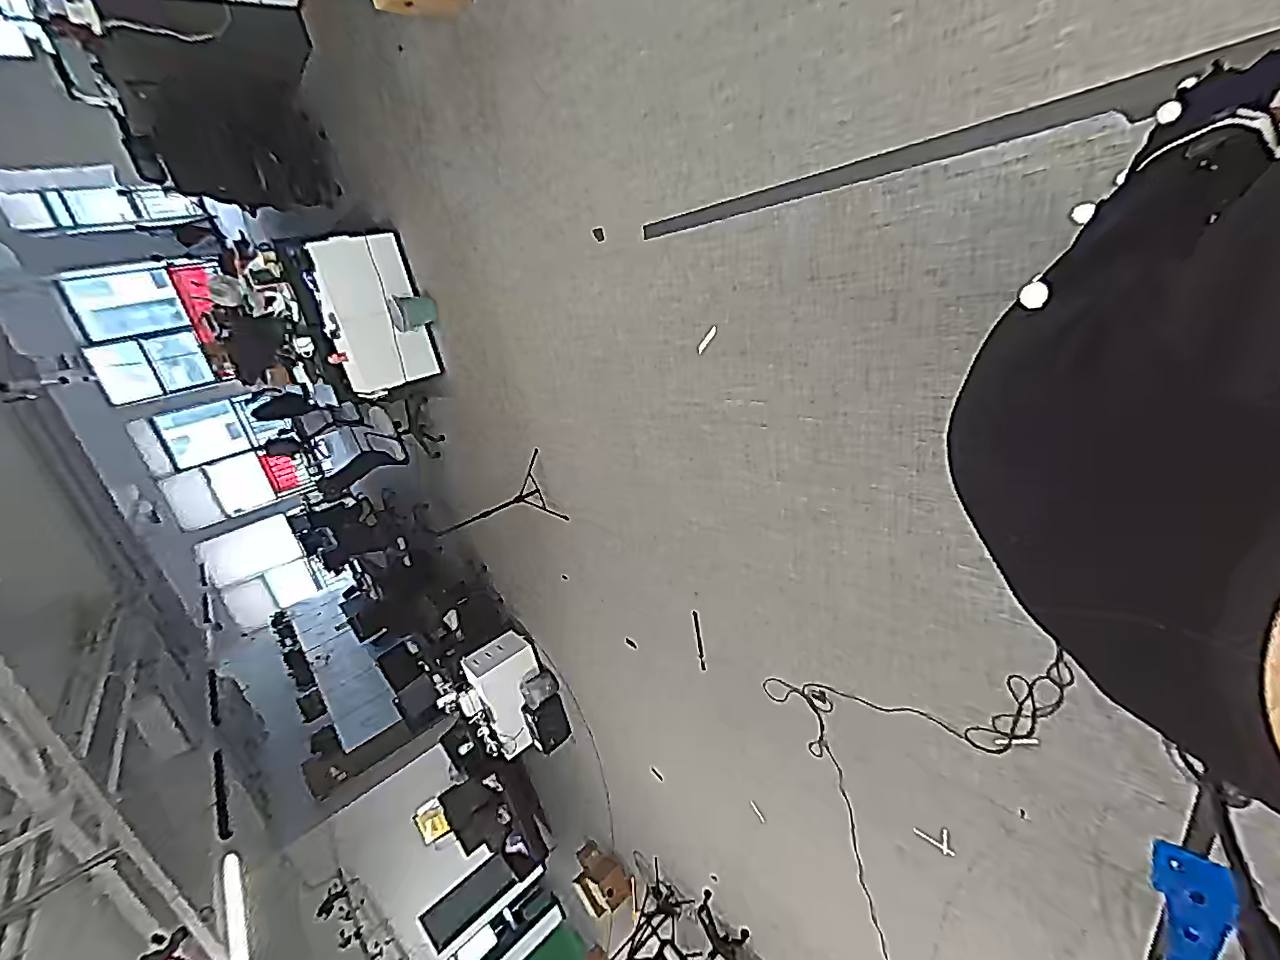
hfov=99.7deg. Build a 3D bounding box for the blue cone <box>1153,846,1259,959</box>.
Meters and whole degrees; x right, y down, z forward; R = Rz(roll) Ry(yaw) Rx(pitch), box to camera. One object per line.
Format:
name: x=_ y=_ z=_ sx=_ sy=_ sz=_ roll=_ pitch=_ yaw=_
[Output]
blue cone: x=1.369 y=1.137 z=1.336 sx=0.192 sy=0.380 sz=0.193 roll=10 pitch=120 yaw=49
